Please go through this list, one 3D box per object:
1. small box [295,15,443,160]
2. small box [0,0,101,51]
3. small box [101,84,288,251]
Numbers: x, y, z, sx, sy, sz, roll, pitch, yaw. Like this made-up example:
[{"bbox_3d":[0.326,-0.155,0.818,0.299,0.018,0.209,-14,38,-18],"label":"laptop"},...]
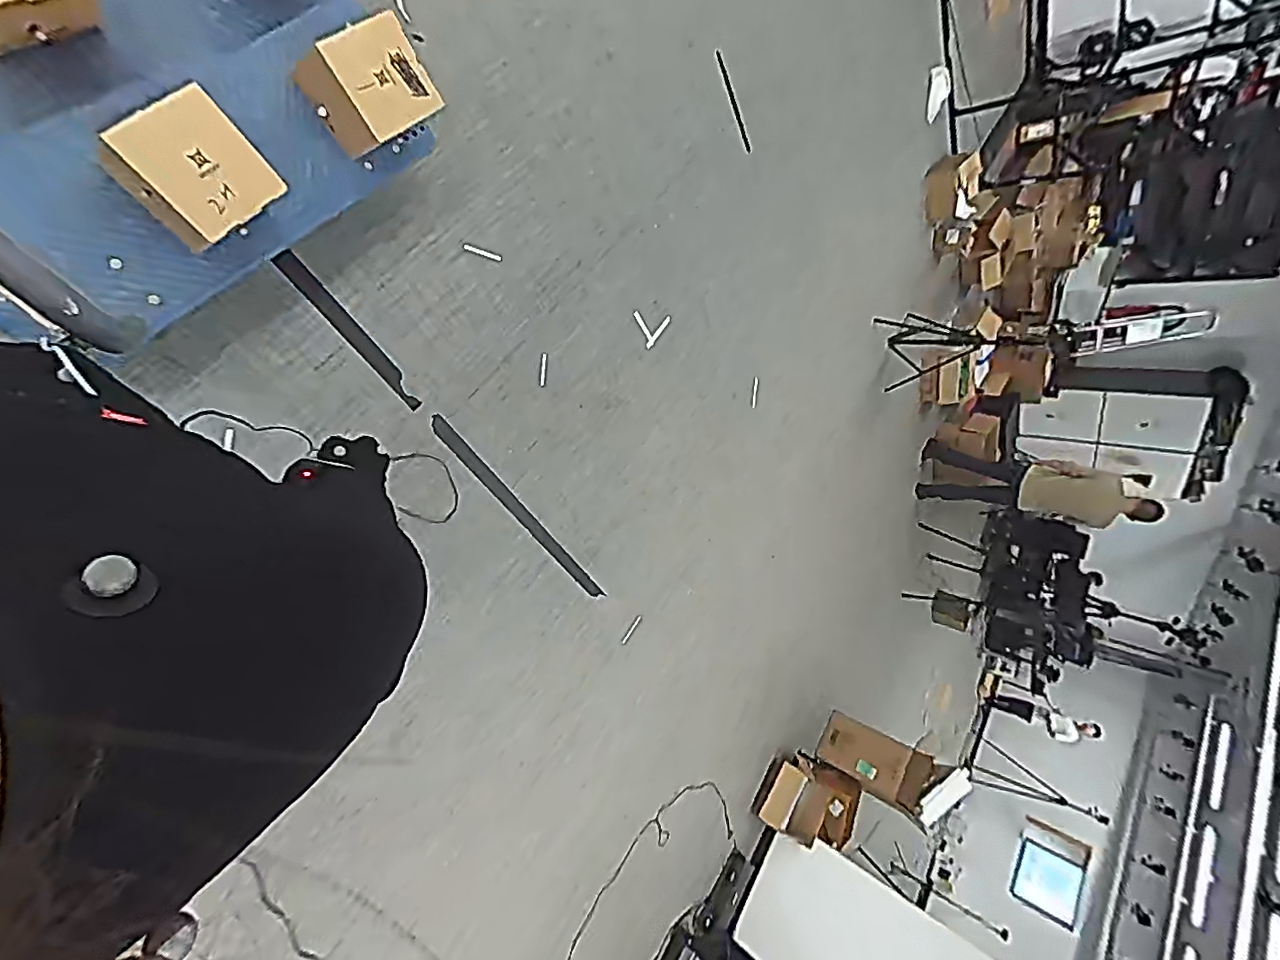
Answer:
[{"bbox_3d":[-0.539,-0.771,1.074,0.179,0.176,0.168,-50,132,-24],"label":"small box"},{"bbox_3d":[-0.882,-0.719,0.720,0.168,0.176,0.179,-50,134,-27],"label":"small box"},{"bbox_3d":[-0.754,-0.514,0.914,0.168,0.176,0.179,-54,134,-22],"label":"small box"}]
